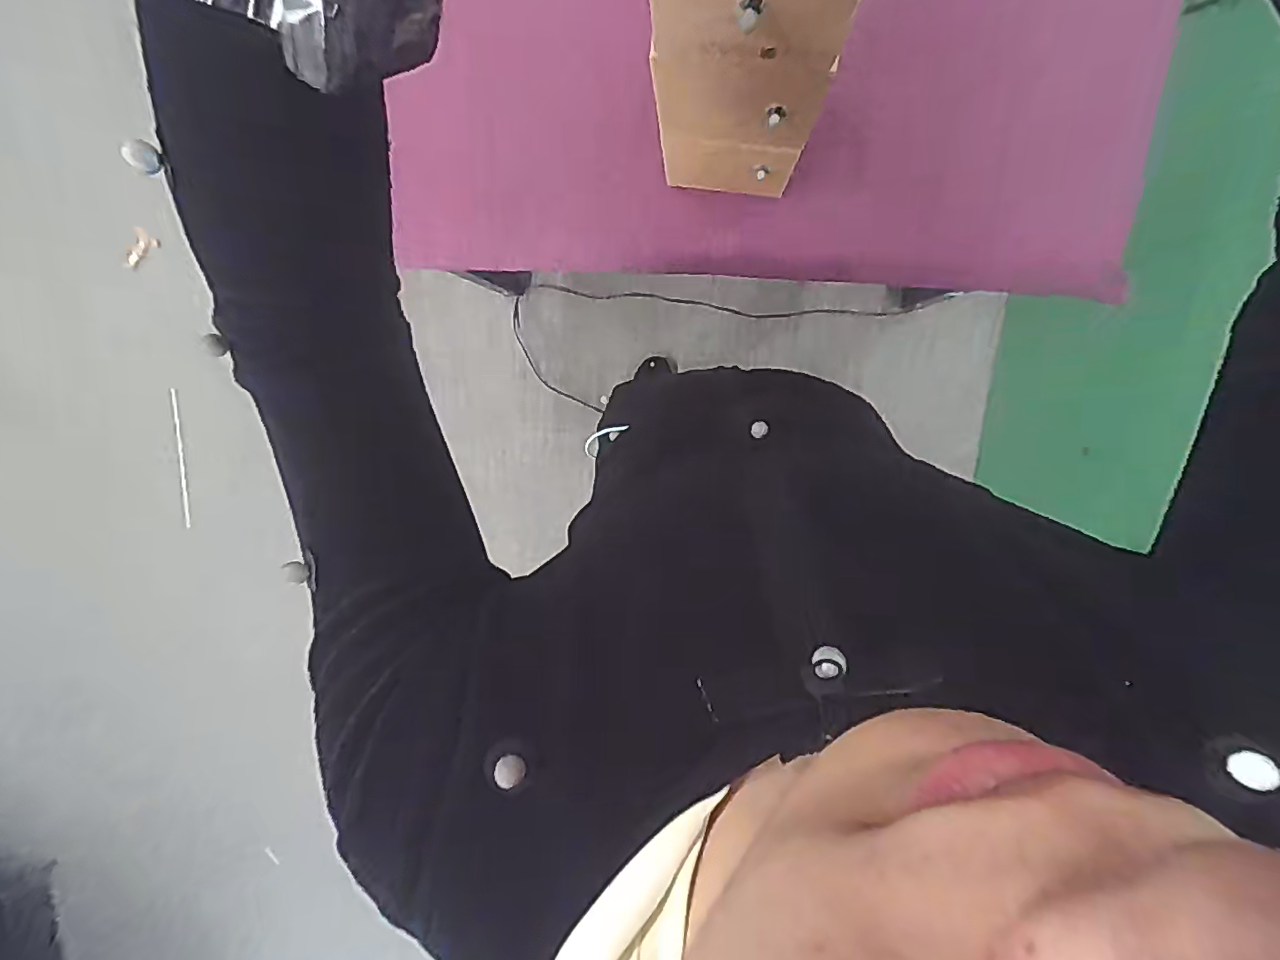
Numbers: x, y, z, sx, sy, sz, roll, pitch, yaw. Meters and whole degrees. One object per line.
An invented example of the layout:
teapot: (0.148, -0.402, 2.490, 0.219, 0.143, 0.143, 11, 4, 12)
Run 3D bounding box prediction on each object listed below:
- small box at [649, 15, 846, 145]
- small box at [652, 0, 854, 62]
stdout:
small box: (0.113, -0.476, 0.564, 0.179, 0.176, 0.168, 9, 101, 5)
small box: (0.097, -0.455, 0.403, 0.168, 0.176, 0.179, 9, 101, 4)
